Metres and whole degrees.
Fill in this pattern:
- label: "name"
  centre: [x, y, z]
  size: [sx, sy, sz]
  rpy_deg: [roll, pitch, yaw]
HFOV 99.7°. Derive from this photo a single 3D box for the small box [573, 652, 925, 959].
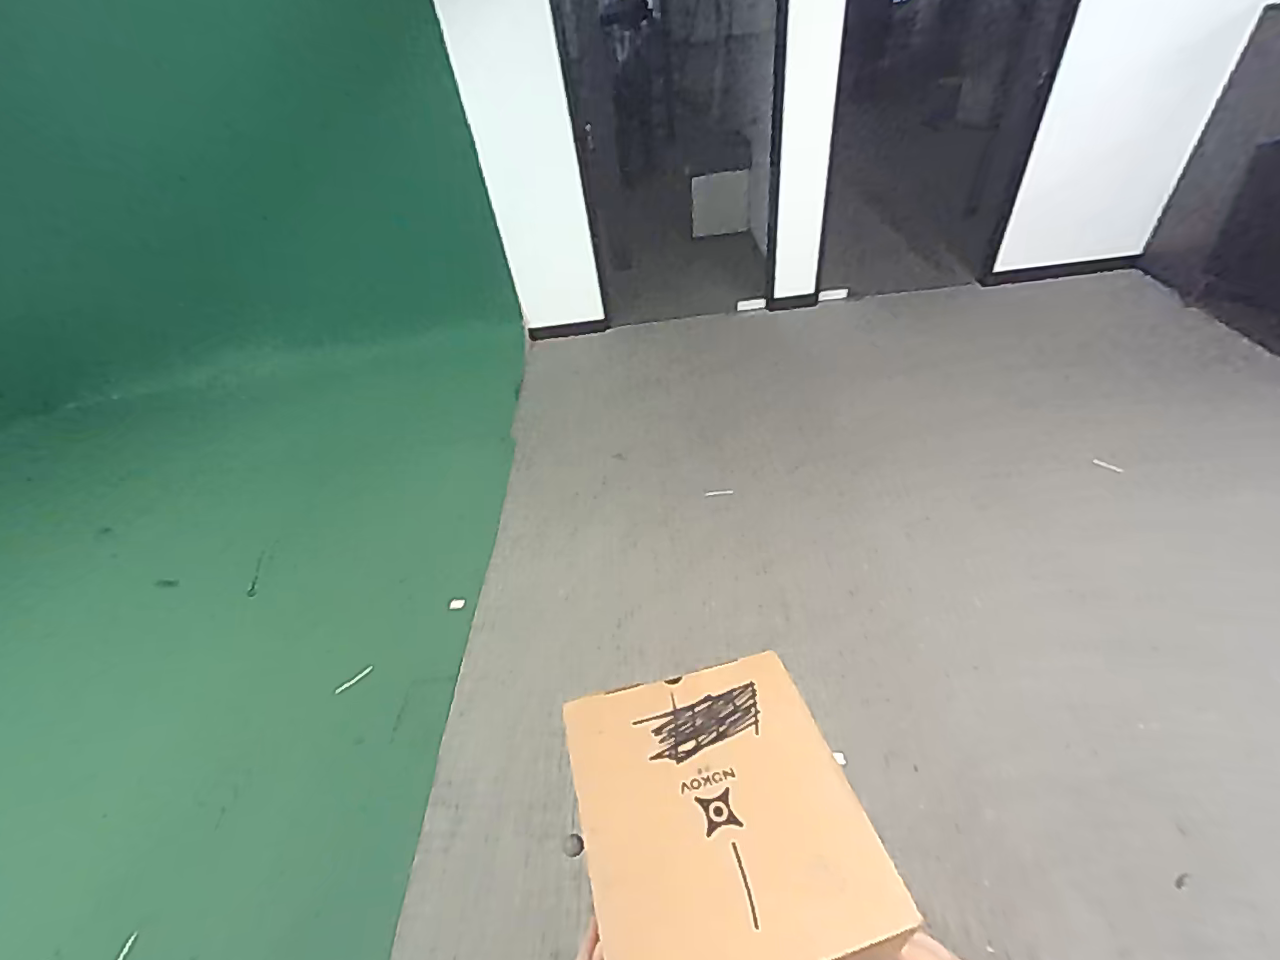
- label: "small box"
  centre: [0.051, 0.257, 0.379]
  size: [0.168, 0.176, 0.179]
  rpy_deg: [-10, 39, -11]
